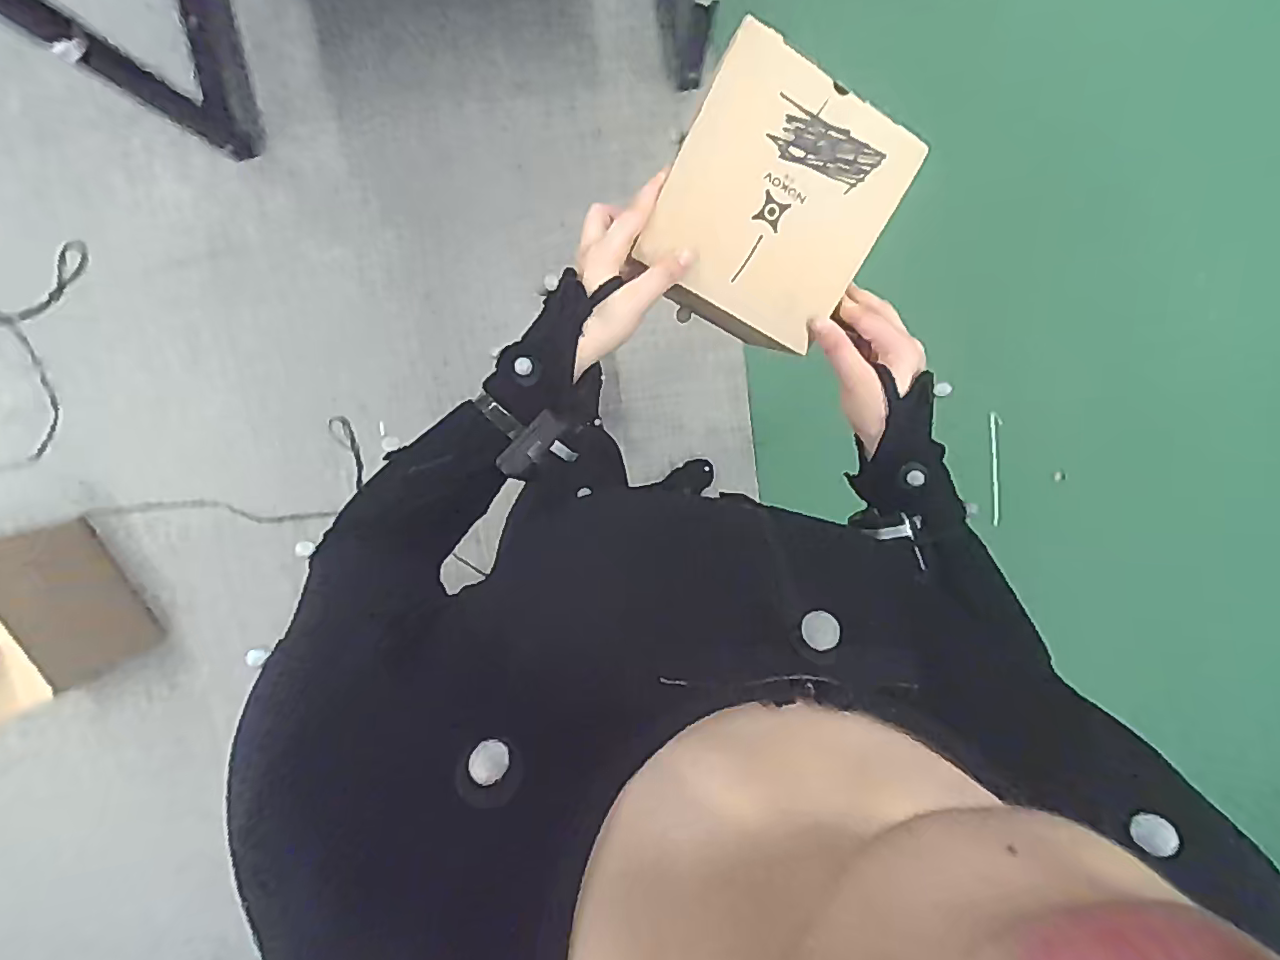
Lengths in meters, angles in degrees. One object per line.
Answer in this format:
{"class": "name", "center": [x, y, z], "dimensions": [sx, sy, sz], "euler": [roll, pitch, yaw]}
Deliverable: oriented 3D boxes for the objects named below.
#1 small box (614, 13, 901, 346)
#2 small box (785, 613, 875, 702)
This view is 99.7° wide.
{"class": "small box", "center": [0.081, -0.241, 0.485], "dimensions": [0.168, 0.176, 0.179], "euler": [24, 104, -12]}
{"class": "small box", "center": [0.493, 0.461, 1.431], "dimensions": [0.179, 0.176, 0.168], "euler": [3, 99, 0]}
